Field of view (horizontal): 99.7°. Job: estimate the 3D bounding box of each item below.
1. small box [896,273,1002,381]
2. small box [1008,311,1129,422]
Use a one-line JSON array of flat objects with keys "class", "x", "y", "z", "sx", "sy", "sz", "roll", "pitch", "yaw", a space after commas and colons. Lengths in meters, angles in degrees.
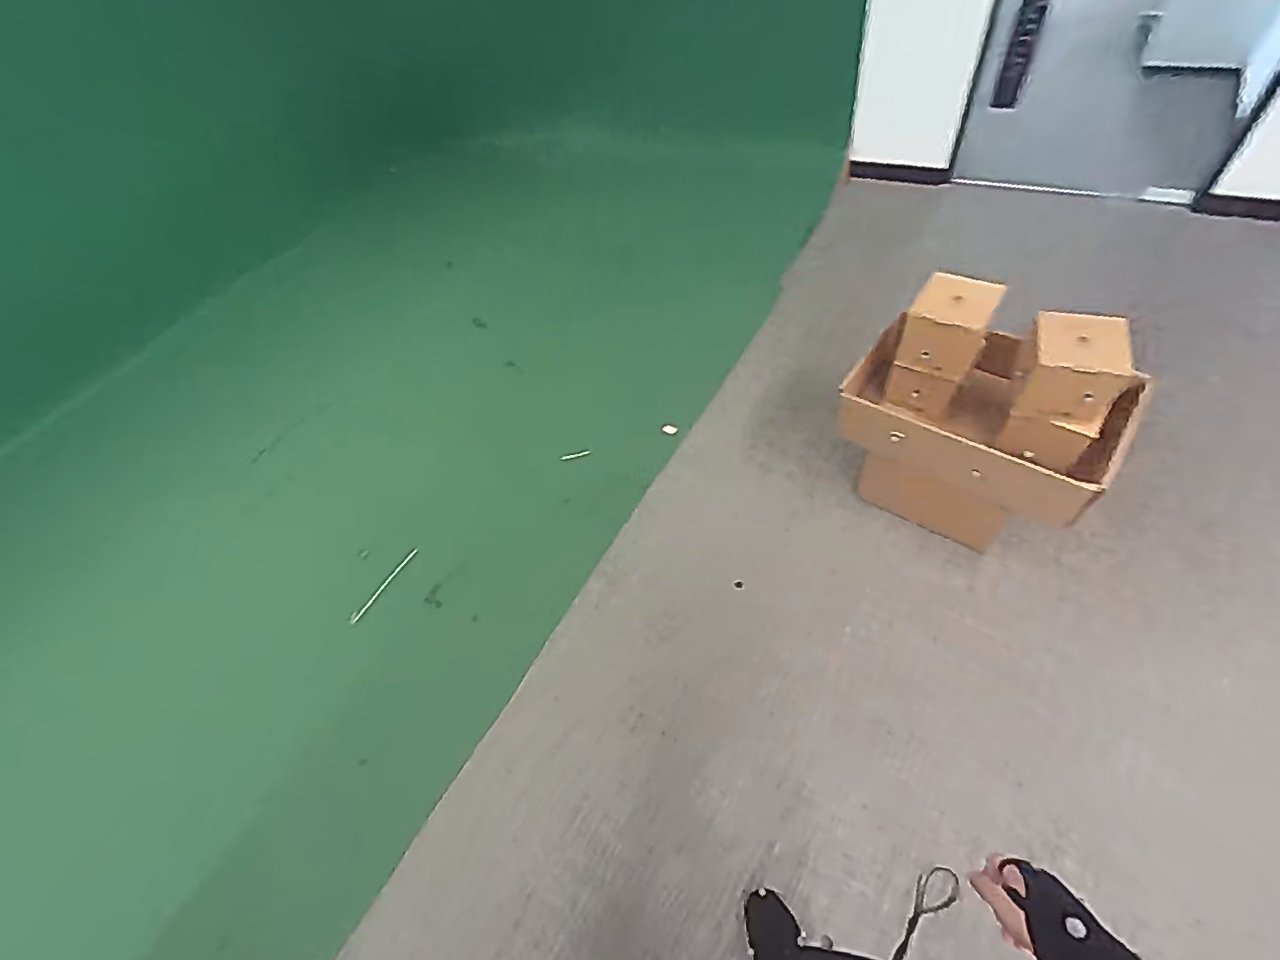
[{"class": "small box", "x": 0.767, "y": -0.383, "z": 1.358, "sx": 0.168, "sy": 0.176, "sz": 0.179, "roll": 26, "pitch": 64, "yaw": 27}, {"class": "small box", "x": 0.957, "y": -0.254, "z": 1.221, "sx": 0.168, "sy": 0.176, "sz": 0.179, "roll": 12, "pitch": 58, "yaw": 20}]
